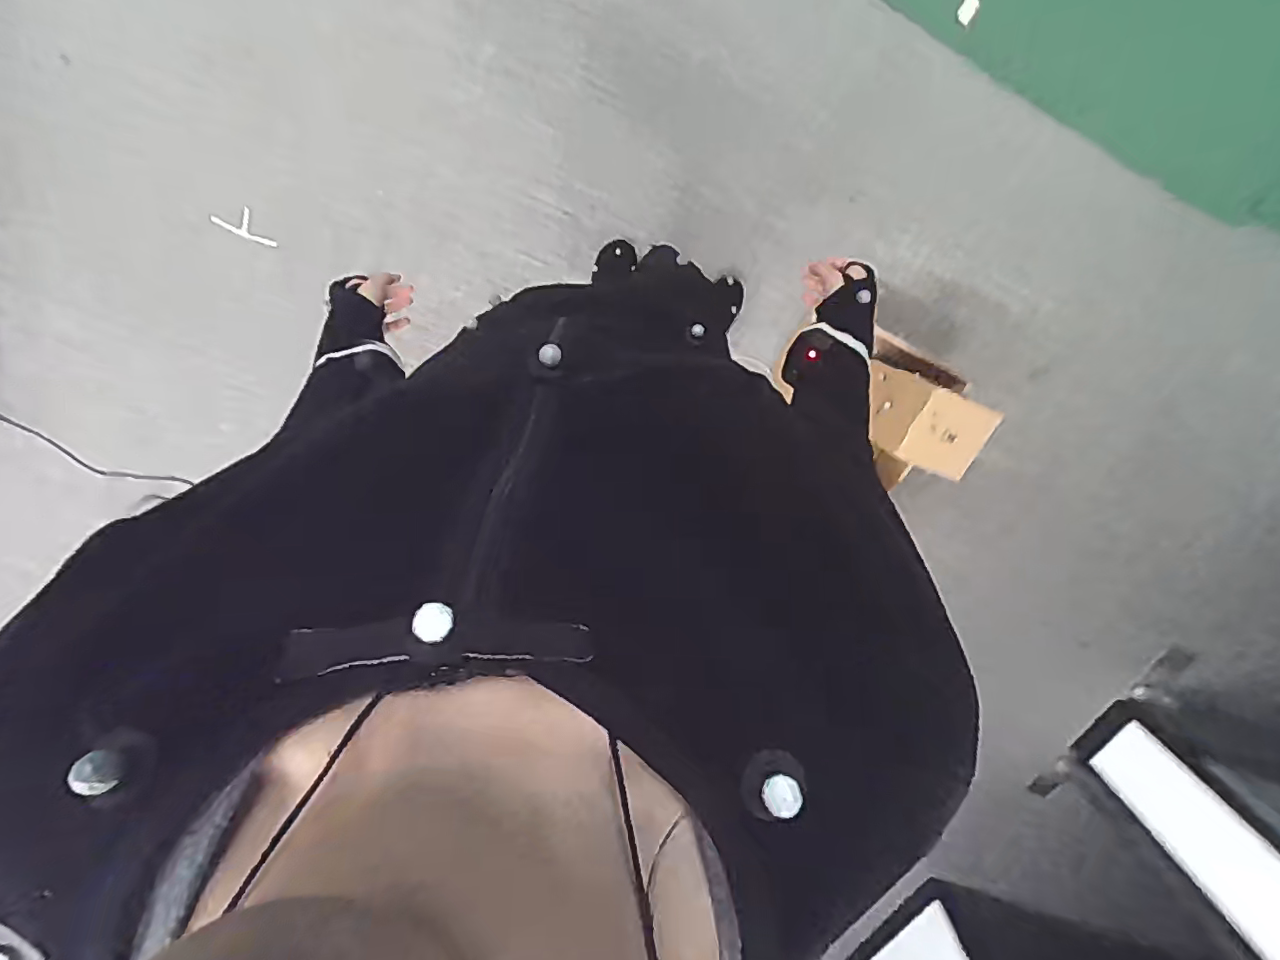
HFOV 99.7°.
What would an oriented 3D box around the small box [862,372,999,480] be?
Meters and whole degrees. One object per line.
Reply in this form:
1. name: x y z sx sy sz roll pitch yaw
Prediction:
1. small box: 0.645 -0.129 1.224 0.179 0.176 0.168 21 112 -11
